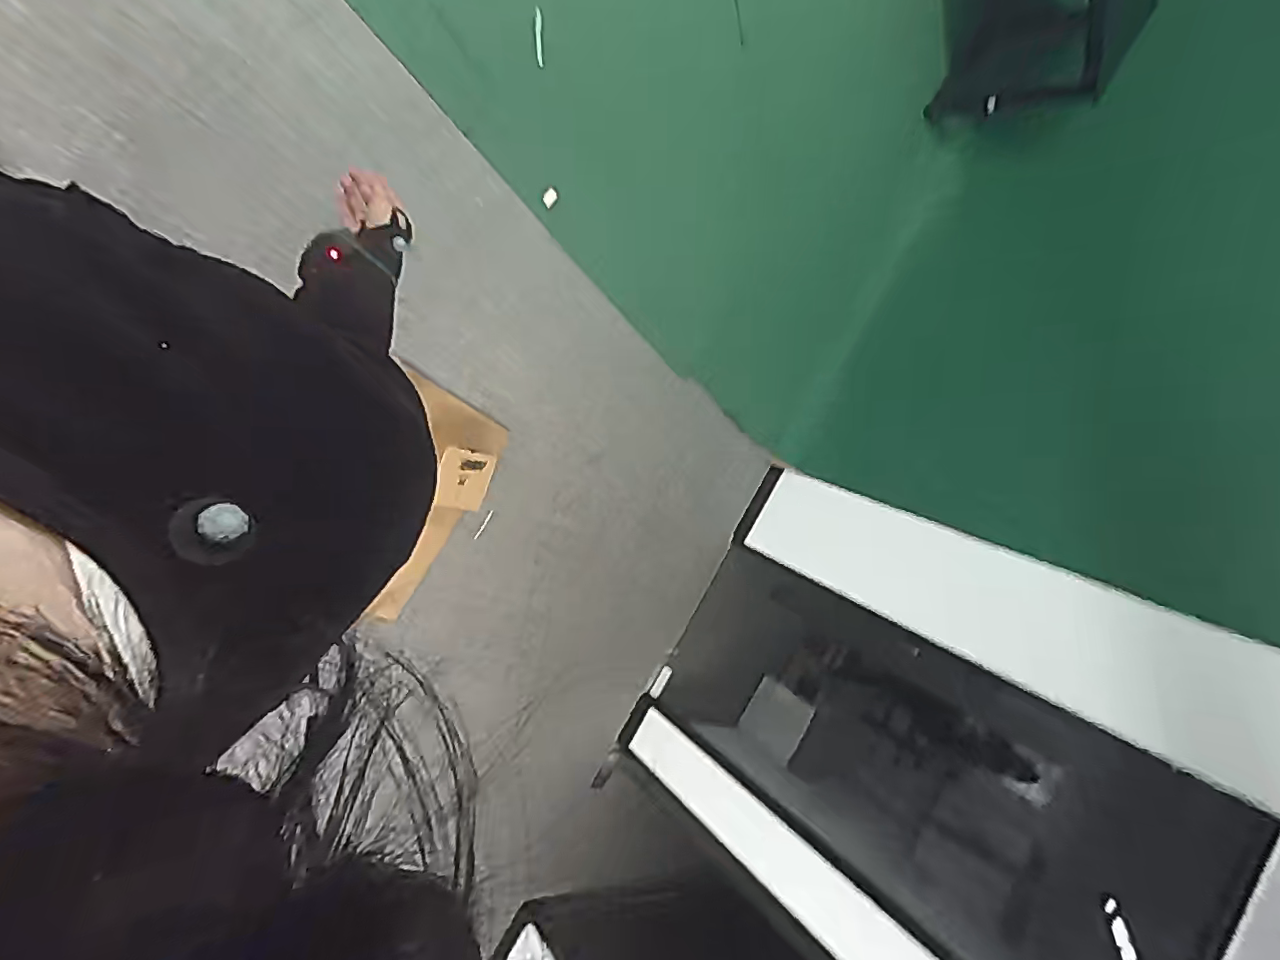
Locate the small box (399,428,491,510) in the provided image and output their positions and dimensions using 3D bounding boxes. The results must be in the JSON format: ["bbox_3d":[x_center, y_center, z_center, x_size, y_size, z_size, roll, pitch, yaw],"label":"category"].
[{"bbox_3d":[-0.564,-0.034,1.552,0.168,0.176,0.179,16,100,-48],"label":"small box"}]
